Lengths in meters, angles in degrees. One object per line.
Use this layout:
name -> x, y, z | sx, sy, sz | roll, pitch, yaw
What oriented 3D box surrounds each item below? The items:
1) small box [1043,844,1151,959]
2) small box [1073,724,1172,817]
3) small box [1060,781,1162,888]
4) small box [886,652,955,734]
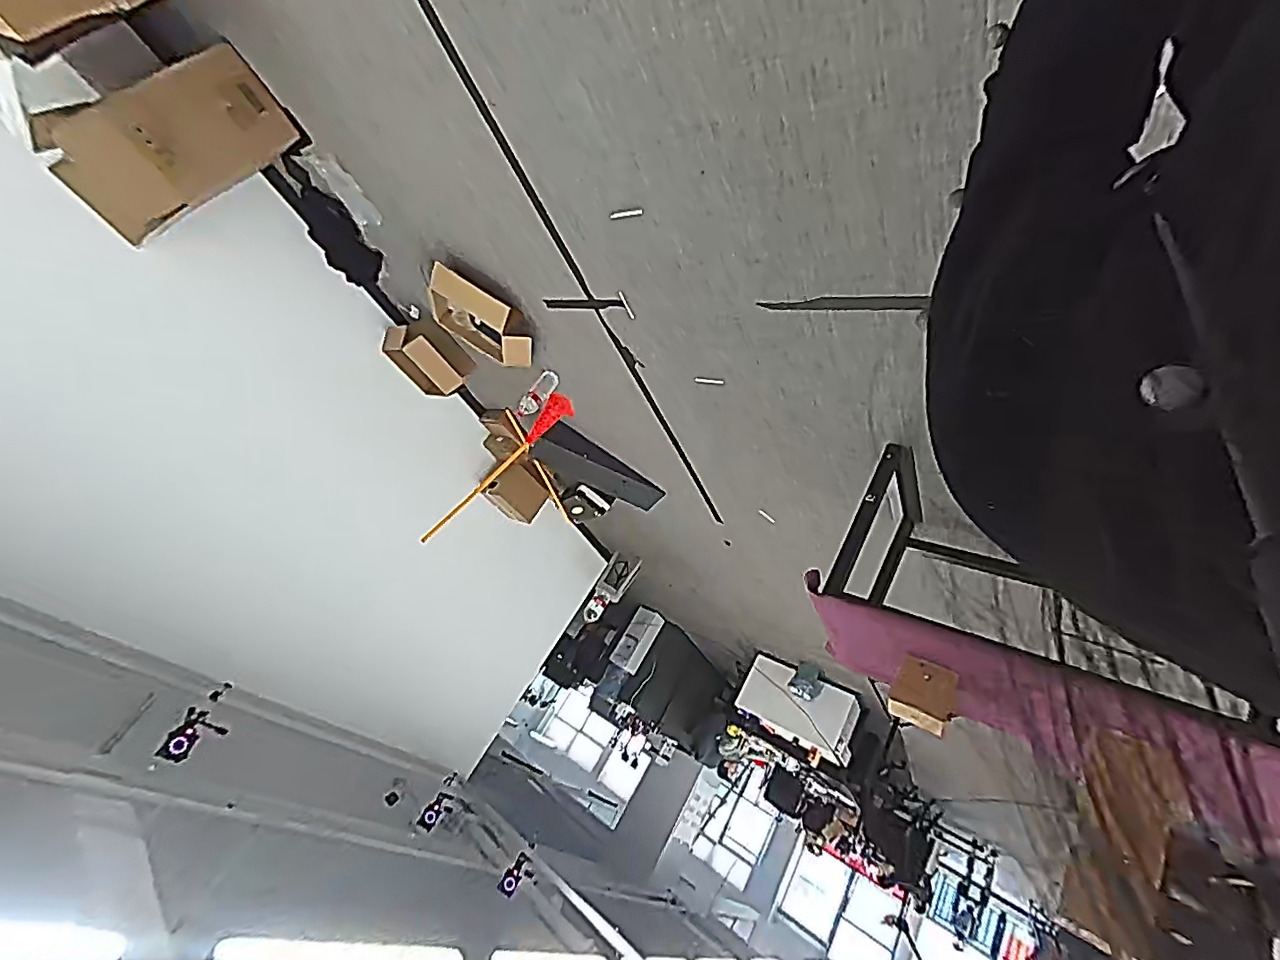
small box -> 1.129, 1.043, 1.339 | 0.168, 0.176, 0.179 | 15, 151, 38
small box -> 1.299, 0.788, 1.459 | 0.168, 0.176, 0.179 | 15, 152, 38
small box -> 1.218, 0.918, 1.401 | 0.168, 0.176, 0.179 | 14, 152, 38
small box -> 0.923, 0.700, 1.782 | 0.168, 0.176, 0.179 | 17, 152, 33
